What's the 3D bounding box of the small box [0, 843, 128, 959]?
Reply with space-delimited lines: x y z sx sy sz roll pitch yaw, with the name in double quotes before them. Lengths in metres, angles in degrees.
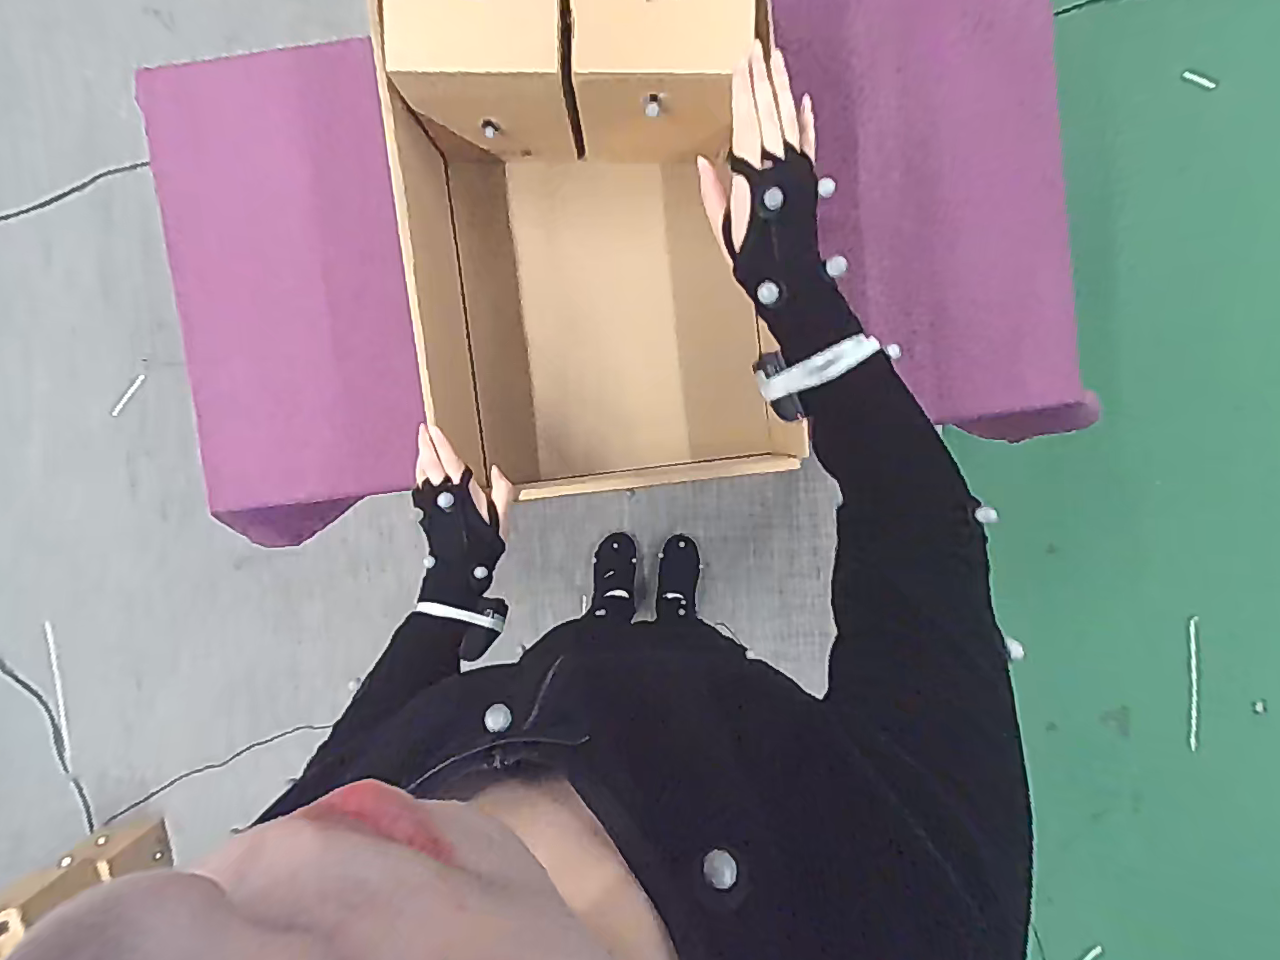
"small box" -1.465 1.057 1.362 0.168 0.176 0.179 -17 94 3
